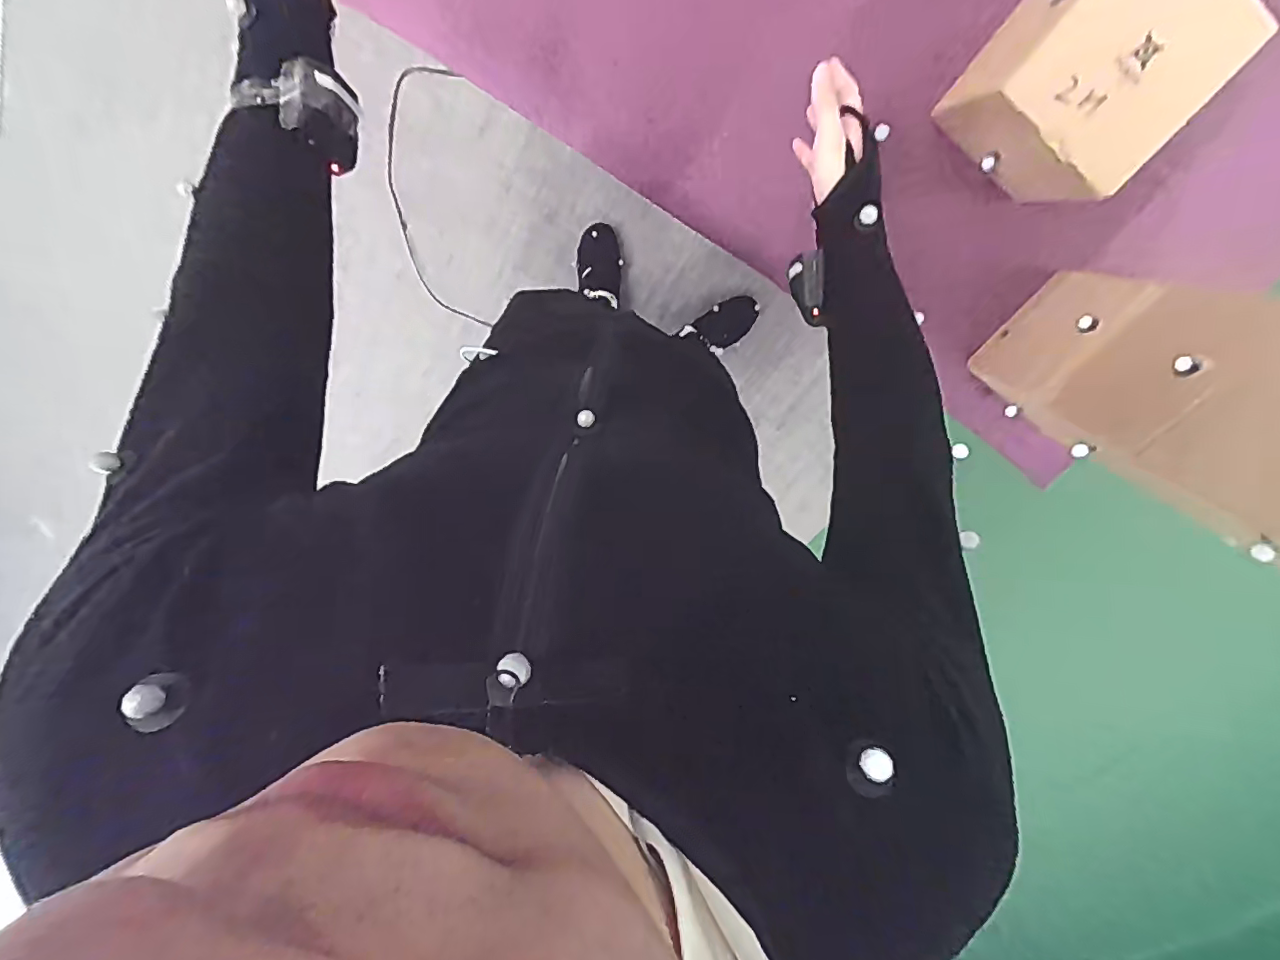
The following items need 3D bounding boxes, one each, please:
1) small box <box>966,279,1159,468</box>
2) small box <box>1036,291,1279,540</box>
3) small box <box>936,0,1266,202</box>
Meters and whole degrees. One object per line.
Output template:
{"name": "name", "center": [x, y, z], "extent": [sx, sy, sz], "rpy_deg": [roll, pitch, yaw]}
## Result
{"name": "small box", "center": [0.590, -0.148, 0.721], "extent": [0.179, 0.176, 0.168], "rpy_deg": [34, 113, -13]}
{"name": "small box", "center": [0.585, -0.077, 0.573], "extent": [0.168, 0.176, 0.179], "rpy_deg": [35, 113, -11]}
{"name": "small box", "center": [0.469, -0.432, 0.585], "extent": [0.168, 0.176, 0.179], "rpy_deg": [34, 114, -13]}
